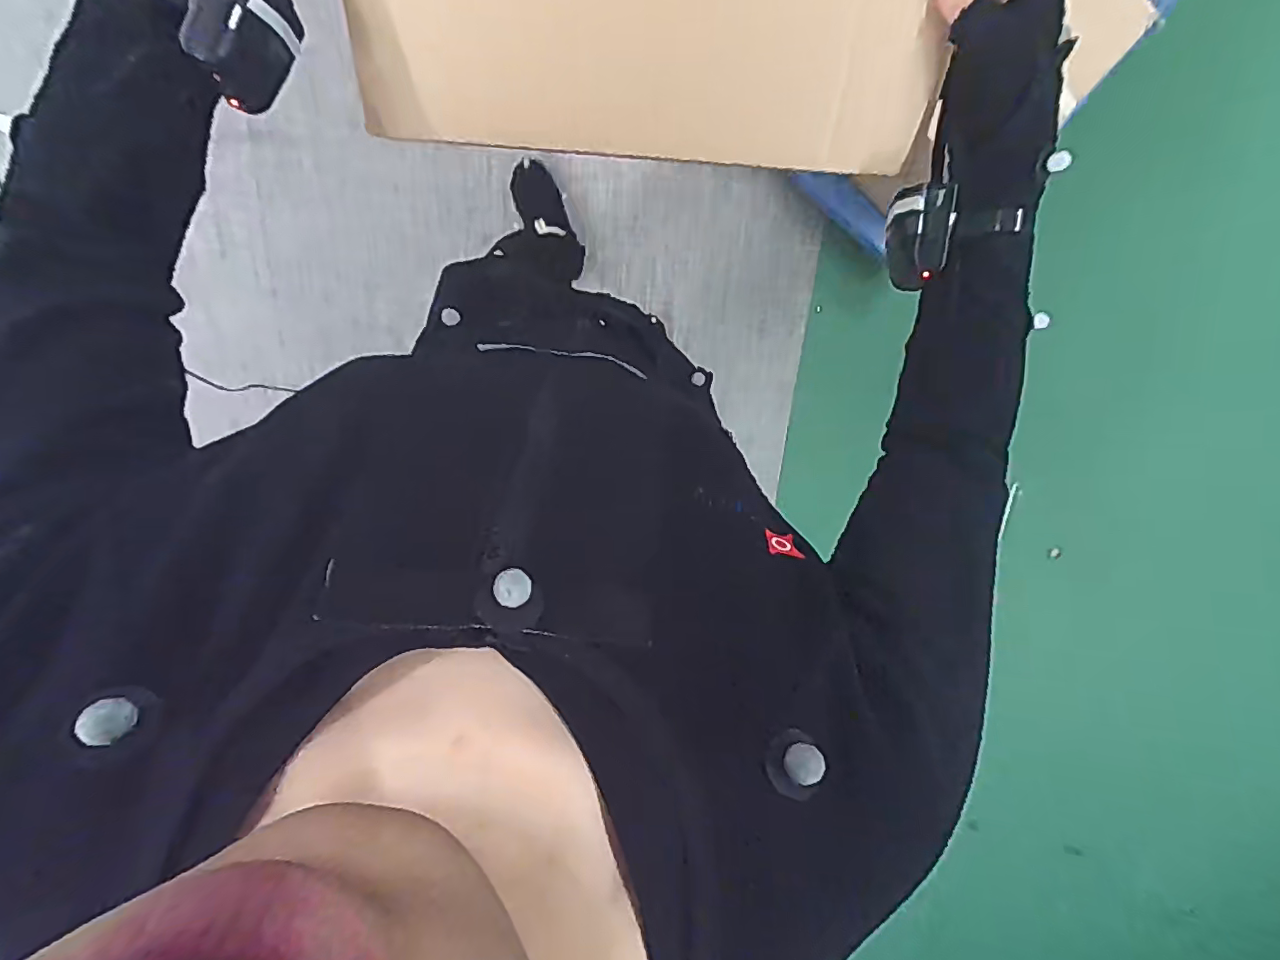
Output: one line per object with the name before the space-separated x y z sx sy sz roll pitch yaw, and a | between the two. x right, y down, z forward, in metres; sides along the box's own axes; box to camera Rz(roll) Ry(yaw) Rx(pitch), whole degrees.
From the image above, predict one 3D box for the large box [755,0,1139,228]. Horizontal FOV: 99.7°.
large box | 0.469 -0.706 0.911 0.408 0.320 0.320 39 103 -13
